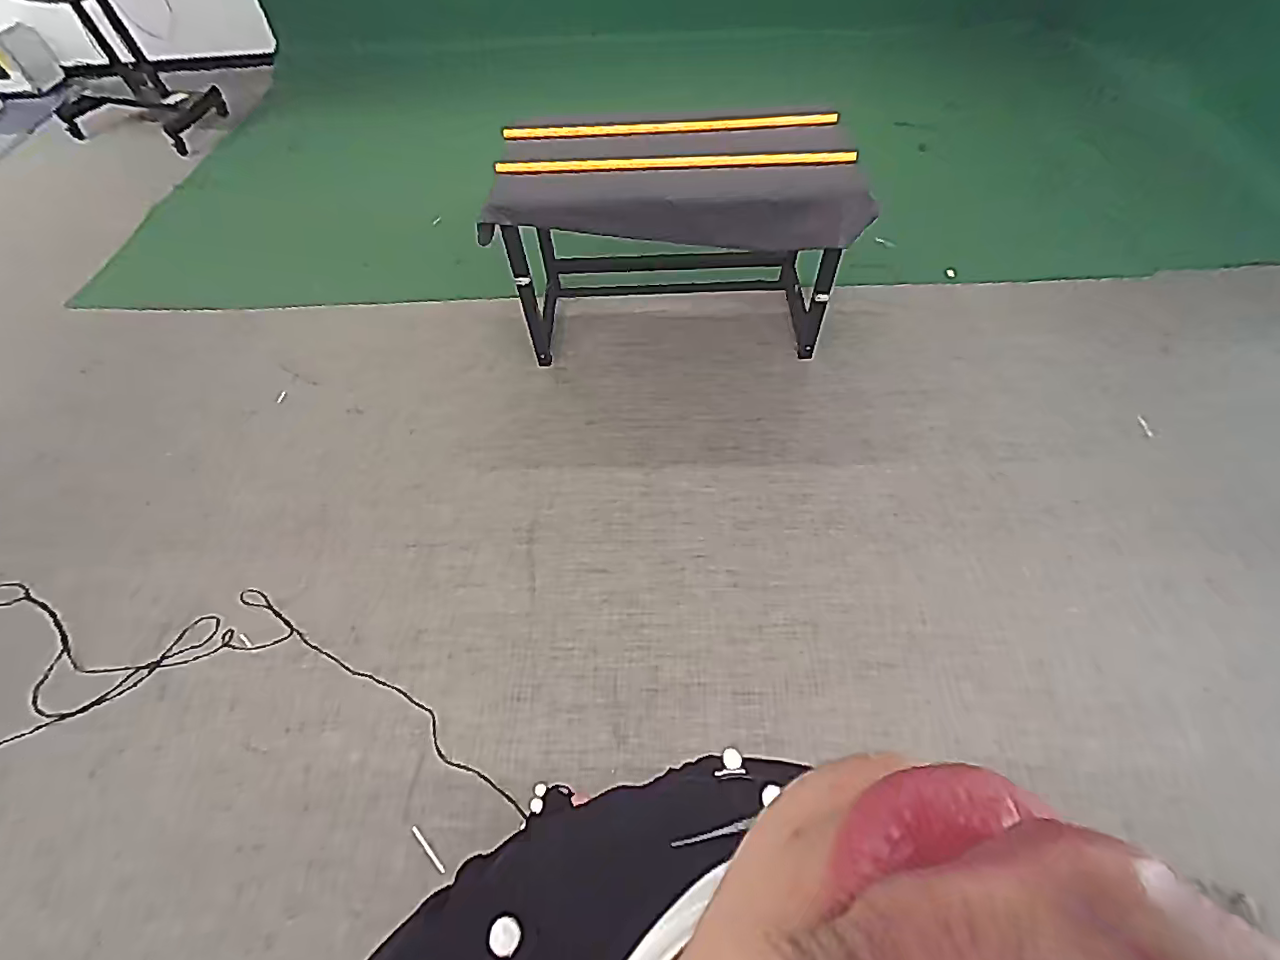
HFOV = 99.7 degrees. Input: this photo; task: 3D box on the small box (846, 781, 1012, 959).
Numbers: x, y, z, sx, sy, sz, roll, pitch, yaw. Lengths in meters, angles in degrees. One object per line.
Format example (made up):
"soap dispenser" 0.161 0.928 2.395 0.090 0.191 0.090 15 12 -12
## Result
"small box" 0.430 0.592 0.823 0.168 0.179 0.176 -8 86 8
